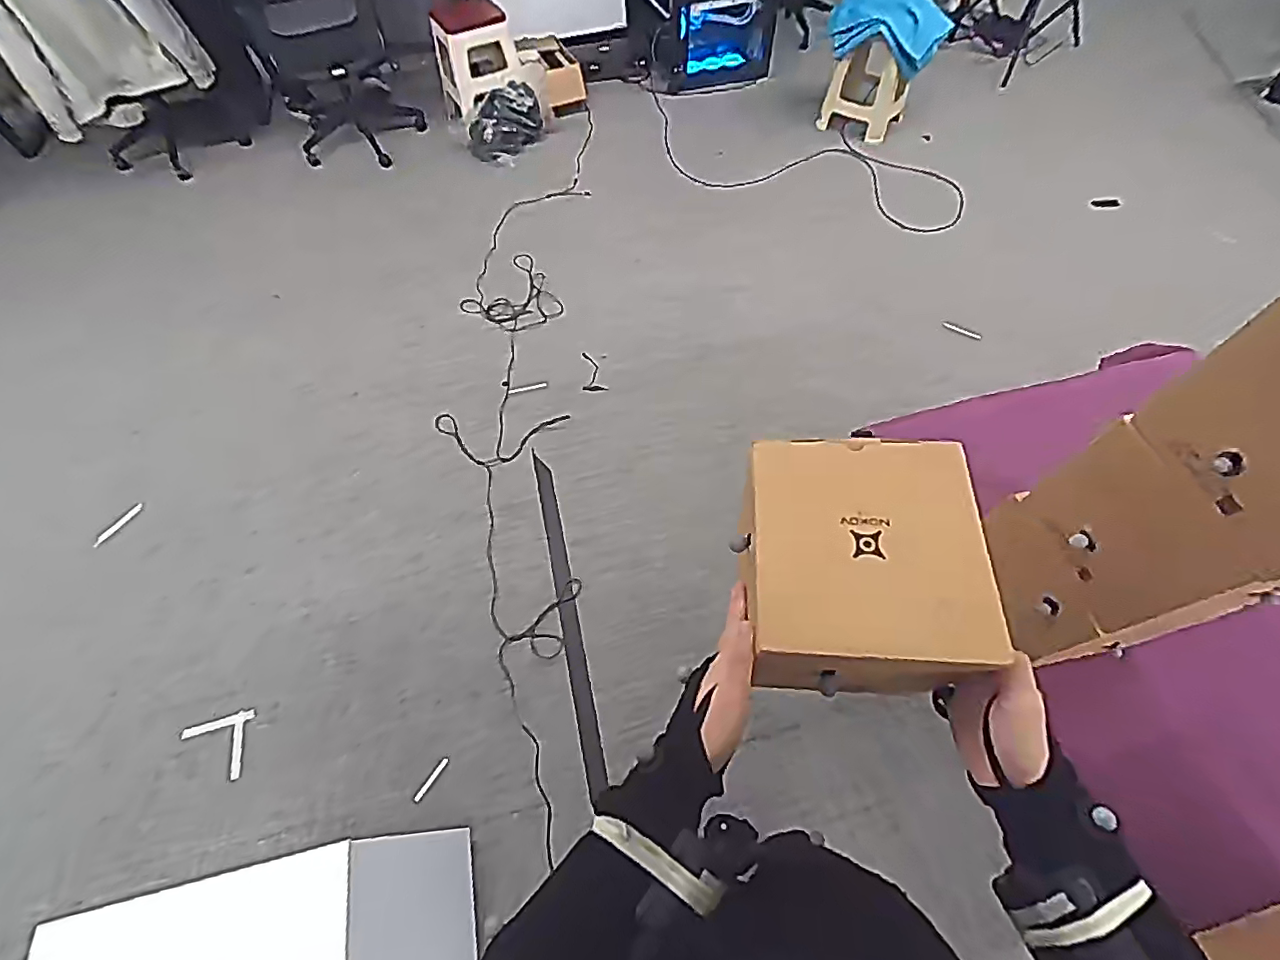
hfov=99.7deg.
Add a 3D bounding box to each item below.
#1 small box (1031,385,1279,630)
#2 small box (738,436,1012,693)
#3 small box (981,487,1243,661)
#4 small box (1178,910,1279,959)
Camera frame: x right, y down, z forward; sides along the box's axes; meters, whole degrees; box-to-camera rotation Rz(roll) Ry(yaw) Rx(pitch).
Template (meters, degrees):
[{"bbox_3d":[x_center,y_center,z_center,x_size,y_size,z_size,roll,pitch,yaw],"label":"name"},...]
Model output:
[{"bbox_3d":[0.544,0.032,0.527,0.179,0.176,0.168,-11,60,-3],"label":"small box"},{"bbox_3d":[0.174,0.079,0.466,0.168,0.176,0.179,1,60,7],"label":"small box"},{"bbox_3d":[0.539,0.115,0.669,0.168,0.176,0.179,-9,59,-4],"label":"small box"},{"bbox_3d":[0.632,0.482,0.449,0.179,0.176,0.168,-14,58,-5],"label":"small box"}]
